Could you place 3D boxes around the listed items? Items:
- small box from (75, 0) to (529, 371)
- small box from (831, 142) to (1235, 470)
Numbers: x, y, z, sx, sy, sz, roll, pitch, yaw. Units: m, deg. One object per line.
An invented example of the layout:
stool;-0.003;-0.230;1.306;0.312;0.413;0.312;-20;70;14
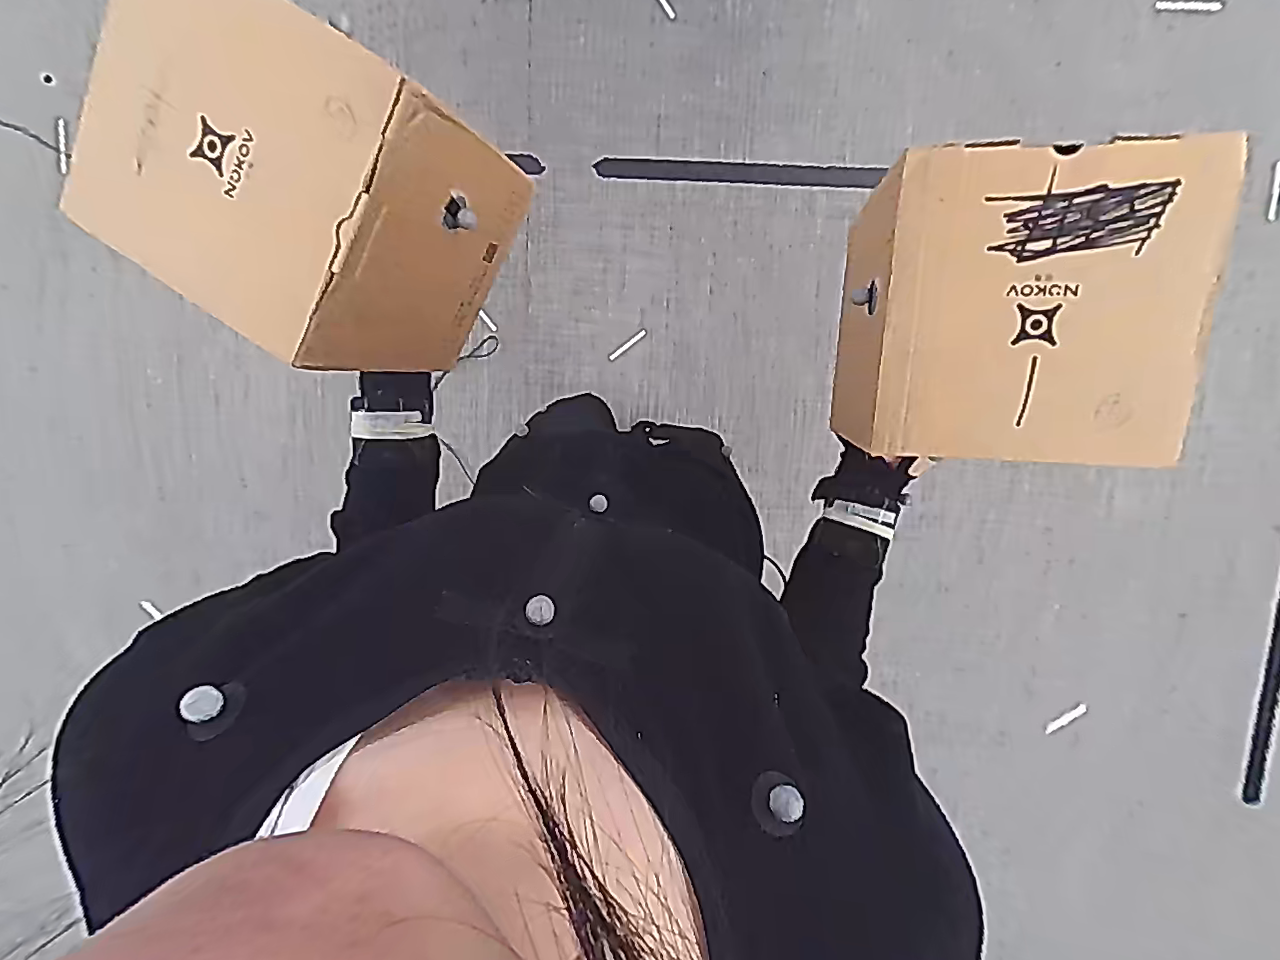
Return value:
small box;-0.205;-0.190;0.370;0.179;0.176;0.168;33;105;5
small box;0.240;-0.111;0.387;0.168;0.176;0.179;4;102;10
